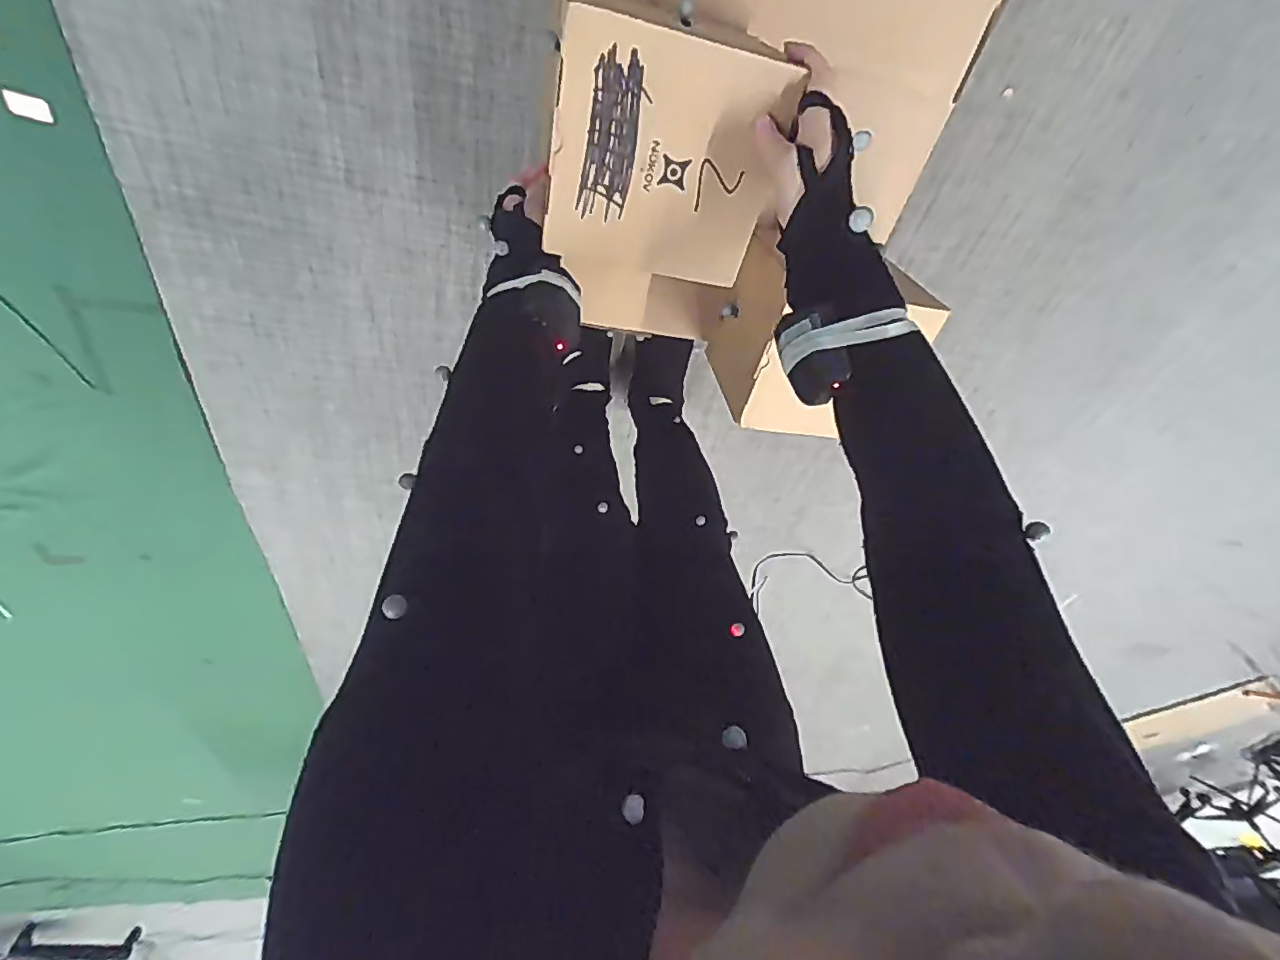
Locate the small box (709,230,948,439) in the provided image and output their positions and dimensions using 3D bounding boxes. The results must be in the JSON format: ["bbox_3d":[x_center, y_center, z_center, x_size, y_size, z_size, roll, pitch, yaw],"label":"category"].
[{"bbox_3d":[0.197,-0.168,0.623,0.179,0.176,0.168,5,131,-13],"label":"small box"}]
